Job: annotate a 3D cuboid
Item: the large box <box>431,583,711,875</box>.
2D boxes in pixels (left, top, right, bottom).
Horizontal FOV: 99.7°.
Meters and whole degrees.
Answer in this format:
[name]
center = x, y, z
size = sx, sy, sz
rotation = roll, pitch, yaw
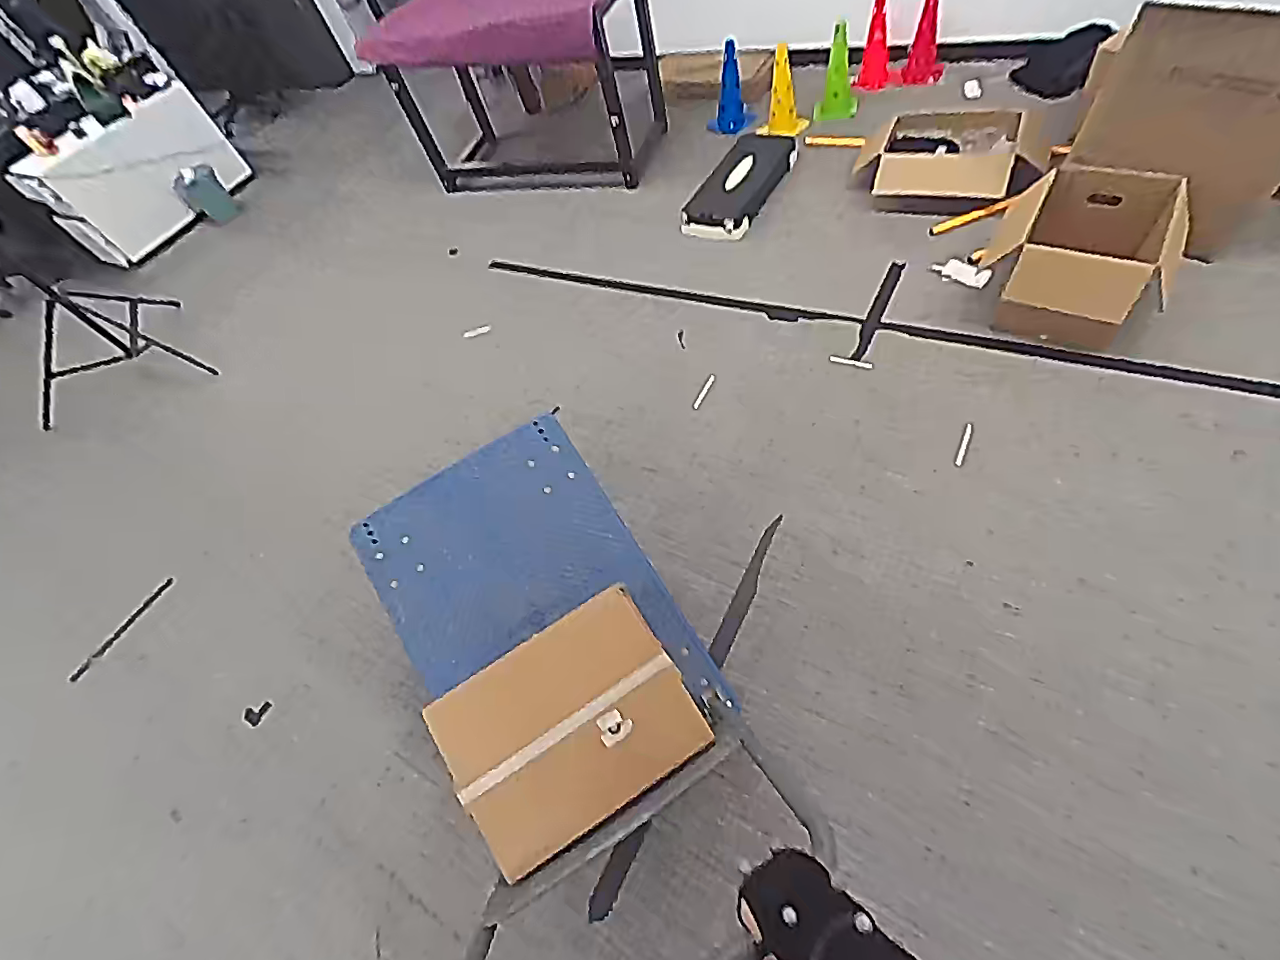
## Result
[large box]
center = -0.123, 0.459, 1.084
size = 0.408, 0.320, 0.320
rotation = -33, 78, -10
